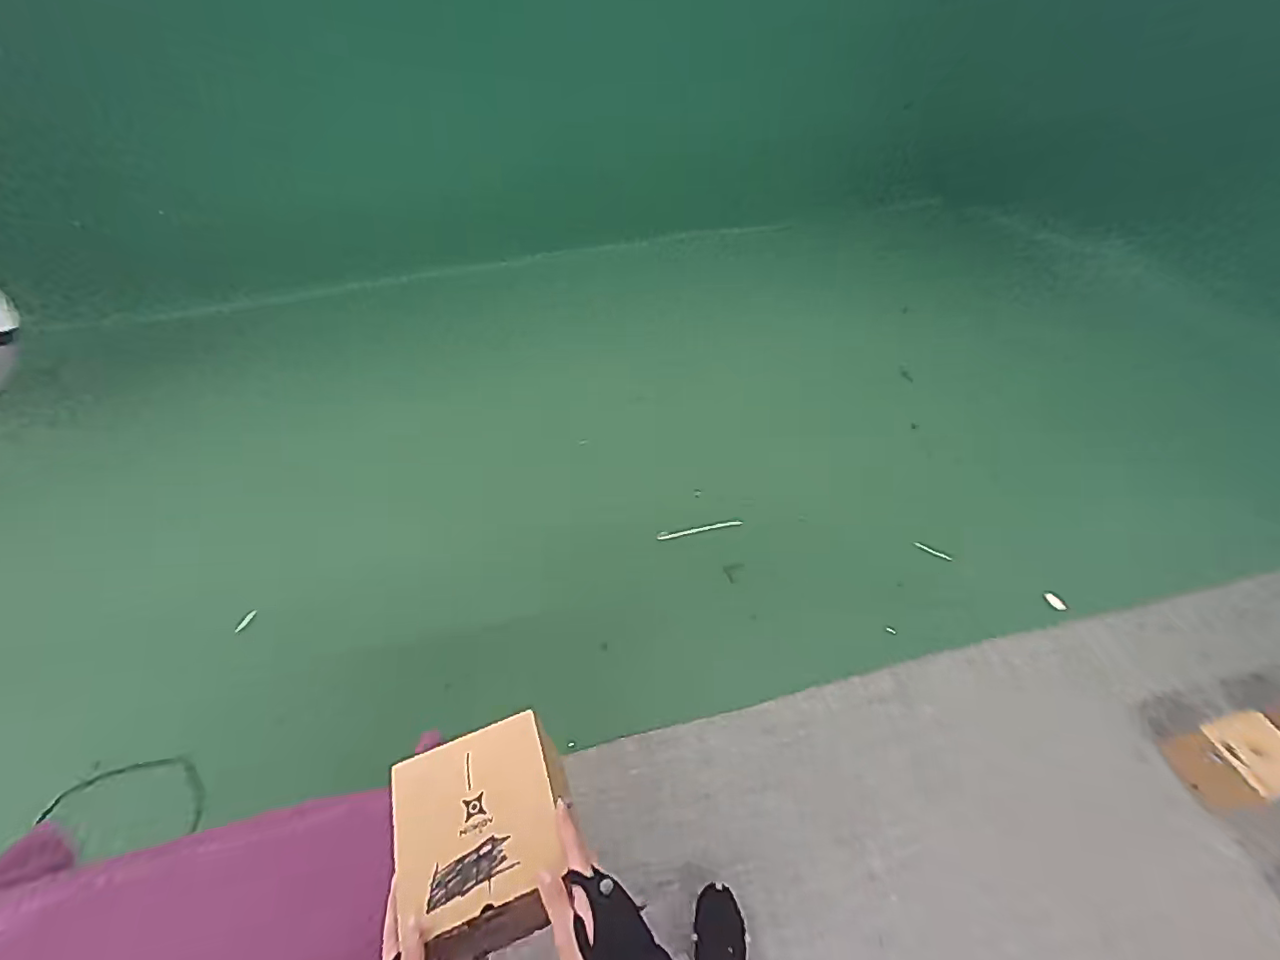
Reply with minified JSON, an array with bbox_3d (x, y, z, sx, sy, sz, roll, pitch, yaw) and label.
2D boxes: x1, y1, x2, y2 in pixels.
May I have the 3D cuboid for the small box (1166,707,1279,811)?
[{"bbox_3d":[1.473,0.684,1.324,0.179,0.176,0.168,-11,47,-7],"label":"small box"}]

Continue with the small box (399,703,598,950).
[{"bbox_3d":[-0.155,0.393,0.611,0.168,0.176,0.179,-18,45,-10],"label":"small box"}]
